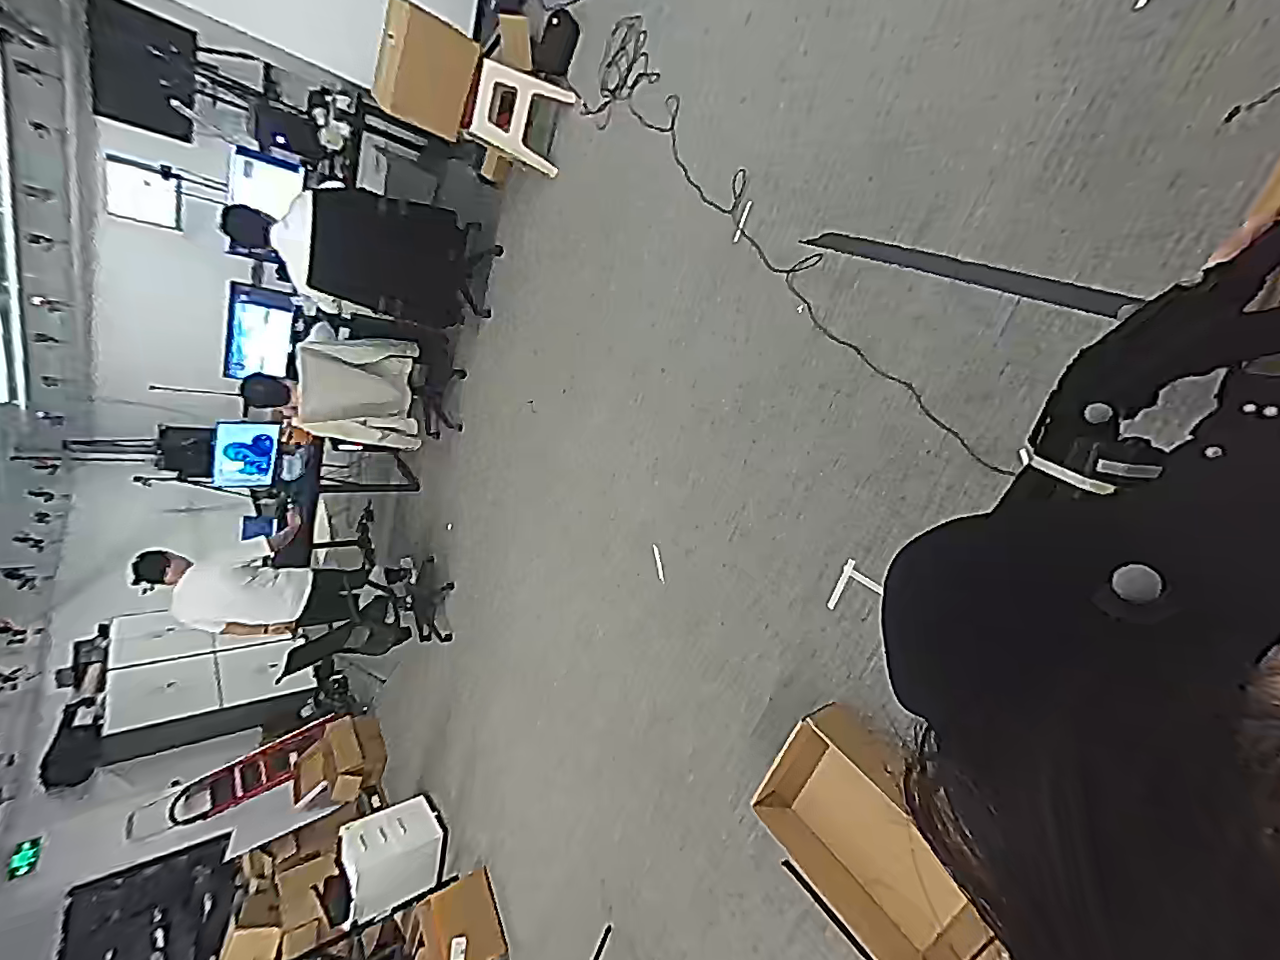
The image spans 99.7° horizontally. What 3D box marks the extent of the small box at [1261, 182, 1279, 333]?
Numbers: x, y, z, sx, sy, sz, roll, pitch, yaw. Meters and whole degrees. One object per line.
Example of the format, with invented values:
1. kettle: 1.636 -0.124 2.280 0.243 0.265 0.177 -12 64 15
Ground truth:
1. small box: 0.521 -0.182 0.313 0.168 0.176 0.179 14 69 29
